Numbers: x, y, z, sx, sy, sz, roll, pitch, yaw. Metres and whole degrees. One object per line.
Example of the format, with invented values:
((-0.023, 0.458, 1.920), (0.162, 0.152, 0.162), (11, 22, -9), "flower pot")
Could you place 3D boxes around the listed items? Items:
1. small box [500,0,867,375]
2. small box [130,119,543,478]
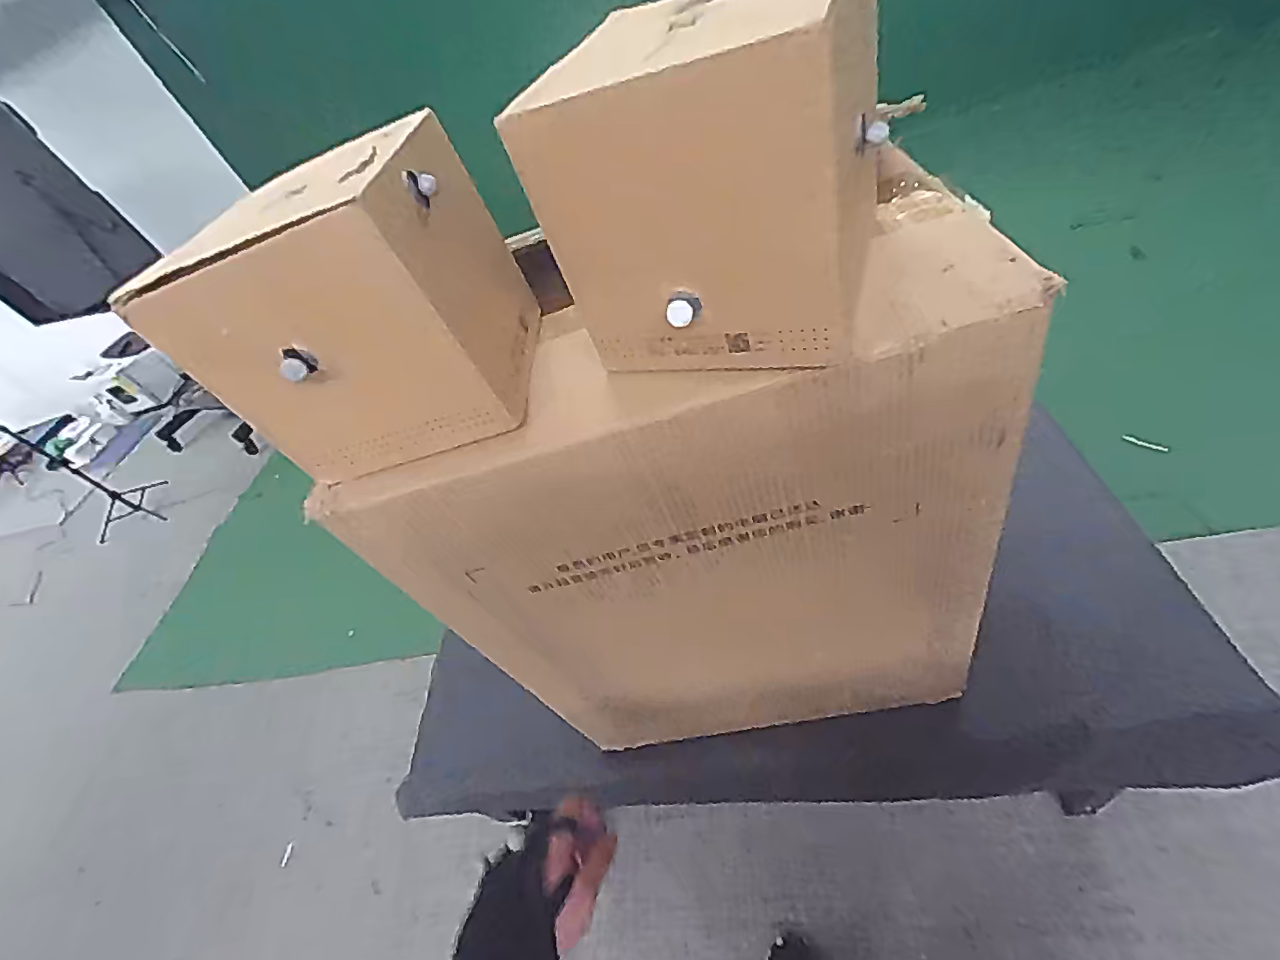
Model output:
((0.049, -0.189, 0.350), (0.168, 0.176, 0.179), (4, 53, 27), "small box")
((-0.196, -0.124, 0.407), (0.179, 0.176, 0.168), (-16, 46, 14), "small box")
